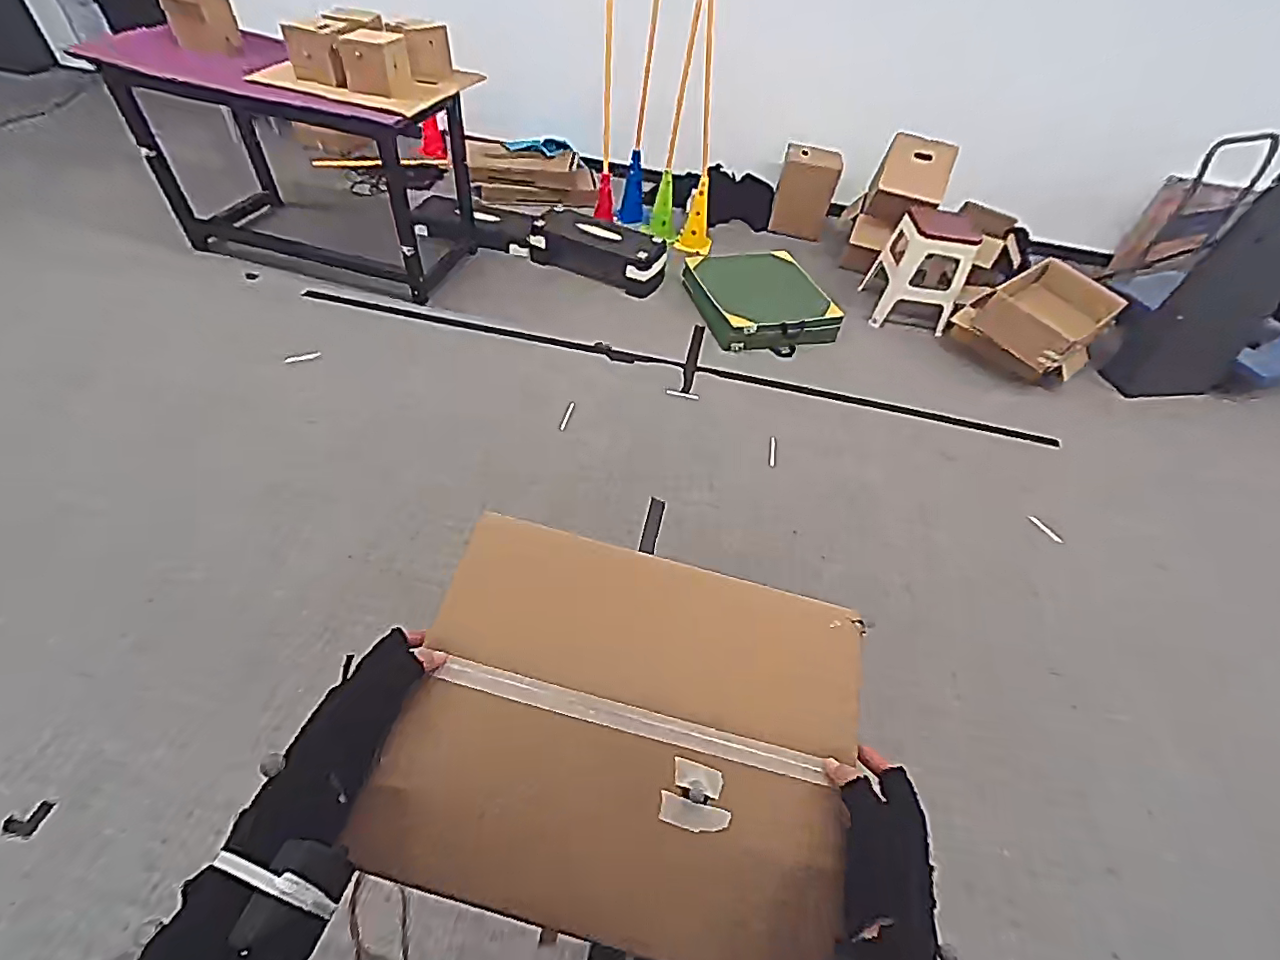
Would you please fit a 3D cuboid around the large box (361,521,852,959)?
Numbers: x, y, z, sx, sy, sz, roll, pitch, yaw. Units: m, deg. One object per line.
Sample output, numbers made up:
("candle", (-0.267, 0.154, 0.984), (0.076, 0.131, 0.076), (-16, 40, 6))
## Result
("large box", (-0.017, 0.290, 0.631), (0.408, 0.320, 0.320), (15, 61, 2))
